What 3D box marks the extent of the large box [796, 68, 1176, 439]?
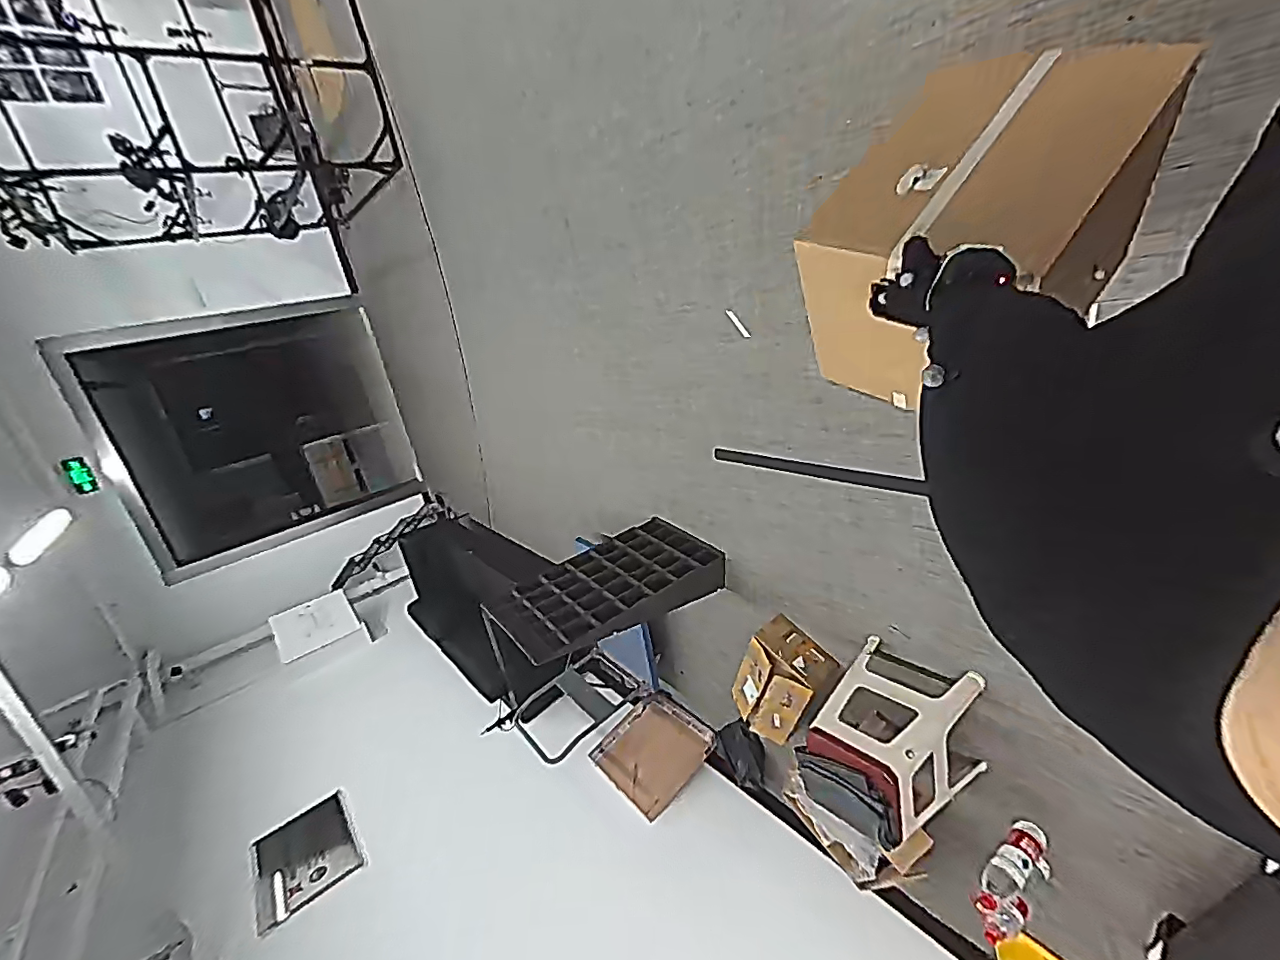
[{"bbox_3d":[0.505,-0.344,0.839,0.320,0.408,0.320,30,167,39],"label":"large box"}]
